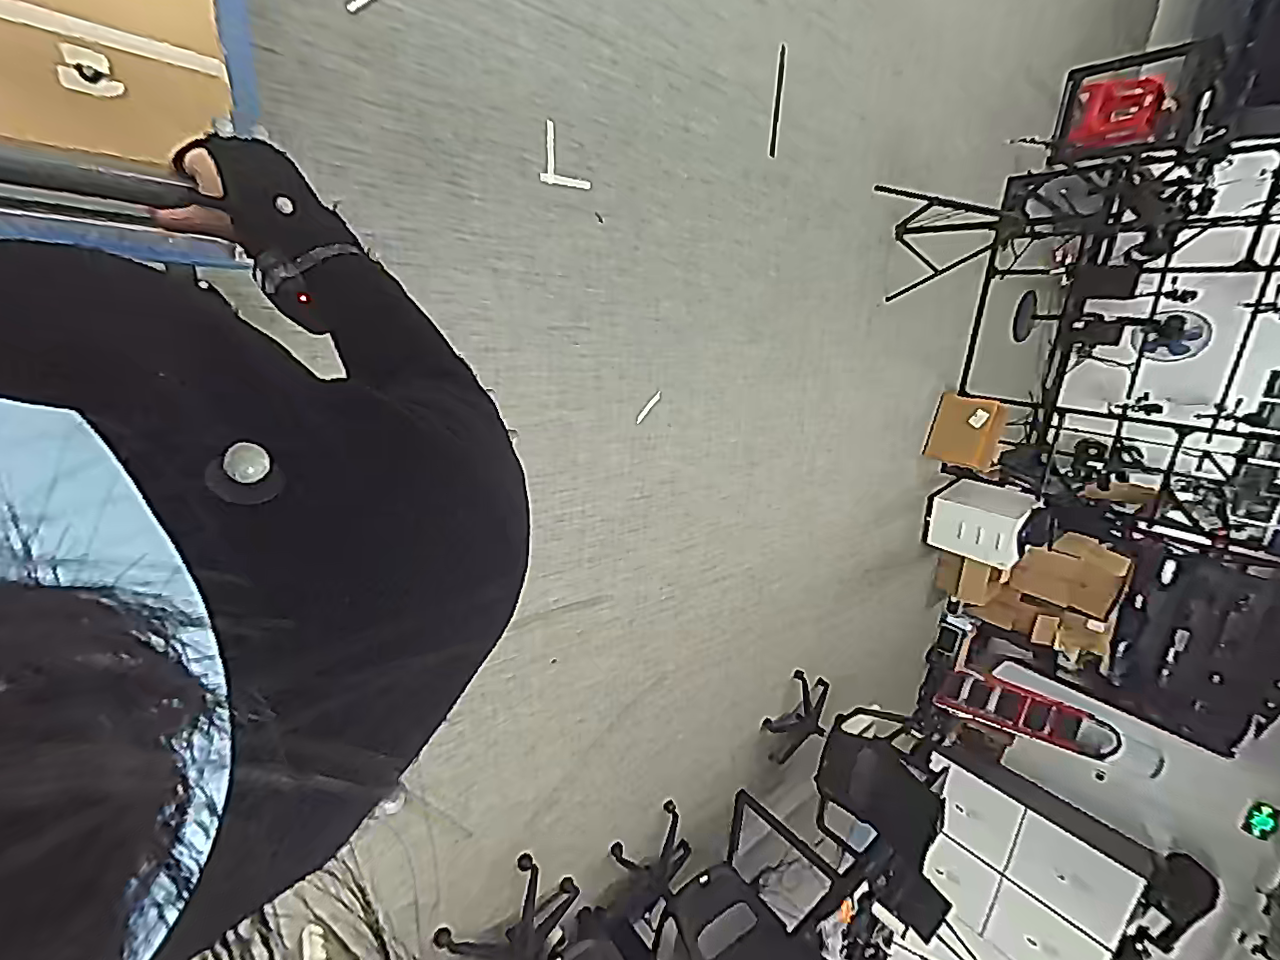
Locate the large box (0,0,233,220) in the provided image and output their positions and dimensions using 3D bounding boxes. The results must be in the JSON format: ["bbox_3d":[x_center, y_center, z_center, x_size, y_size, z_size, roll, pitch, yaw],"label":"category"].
[{"bbox_3d":[-0.817,-0.553,0.705,0.408,0.320,0.320,-10,111,-41],"label":"large box"}]
